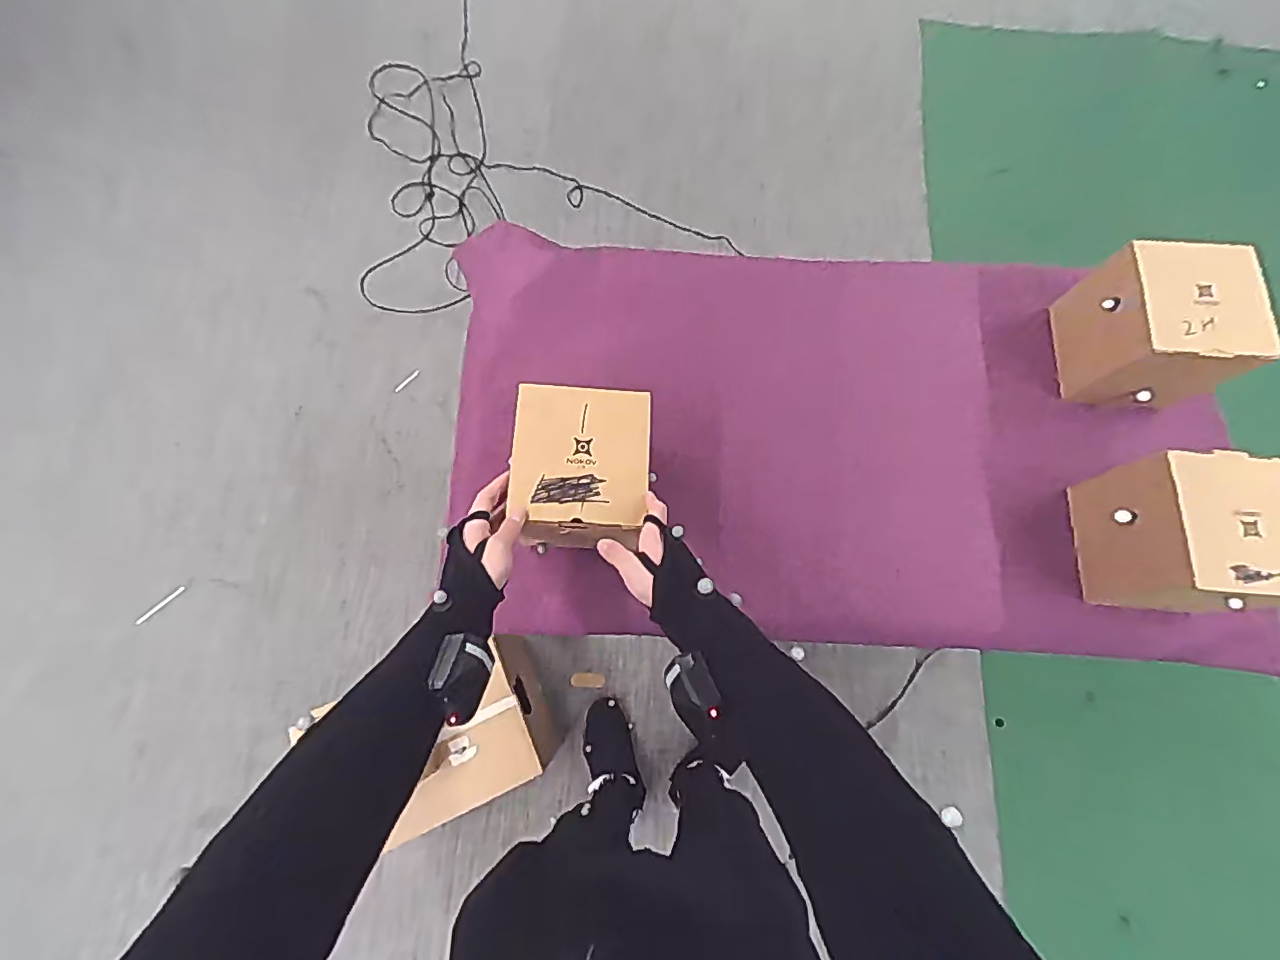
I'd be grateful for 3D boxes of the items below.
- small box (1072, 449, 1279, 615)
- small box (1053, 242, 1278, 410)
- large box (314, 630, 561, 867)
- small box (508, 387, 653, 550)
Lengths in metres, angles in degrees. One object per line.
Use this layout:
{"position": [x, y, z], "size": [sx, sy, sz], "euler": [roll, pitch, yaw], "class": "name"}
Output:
{"position": [0.724, 0.076, 0.720], "size": [0.168, 0.176, 0.179], "euler": [4, 71, 2], "class": "small box"}
{"position": [0.761, -0.223, 0.809], "size": [0.168, 0.176, 0.179], "euler": [4, 75, 3], "class": "small box"}
{"position": [-0.437, 0.581, 1.247], "size": [0.408, 0.320, 0.320], "euler": [-24, 76, -9], "class": "large box"}
{"position": [-0.075, -0.005, 0.728], "size": [0.168, 0.176, 0.179], "euler": [3, 72, -5], "class": "small box"}
